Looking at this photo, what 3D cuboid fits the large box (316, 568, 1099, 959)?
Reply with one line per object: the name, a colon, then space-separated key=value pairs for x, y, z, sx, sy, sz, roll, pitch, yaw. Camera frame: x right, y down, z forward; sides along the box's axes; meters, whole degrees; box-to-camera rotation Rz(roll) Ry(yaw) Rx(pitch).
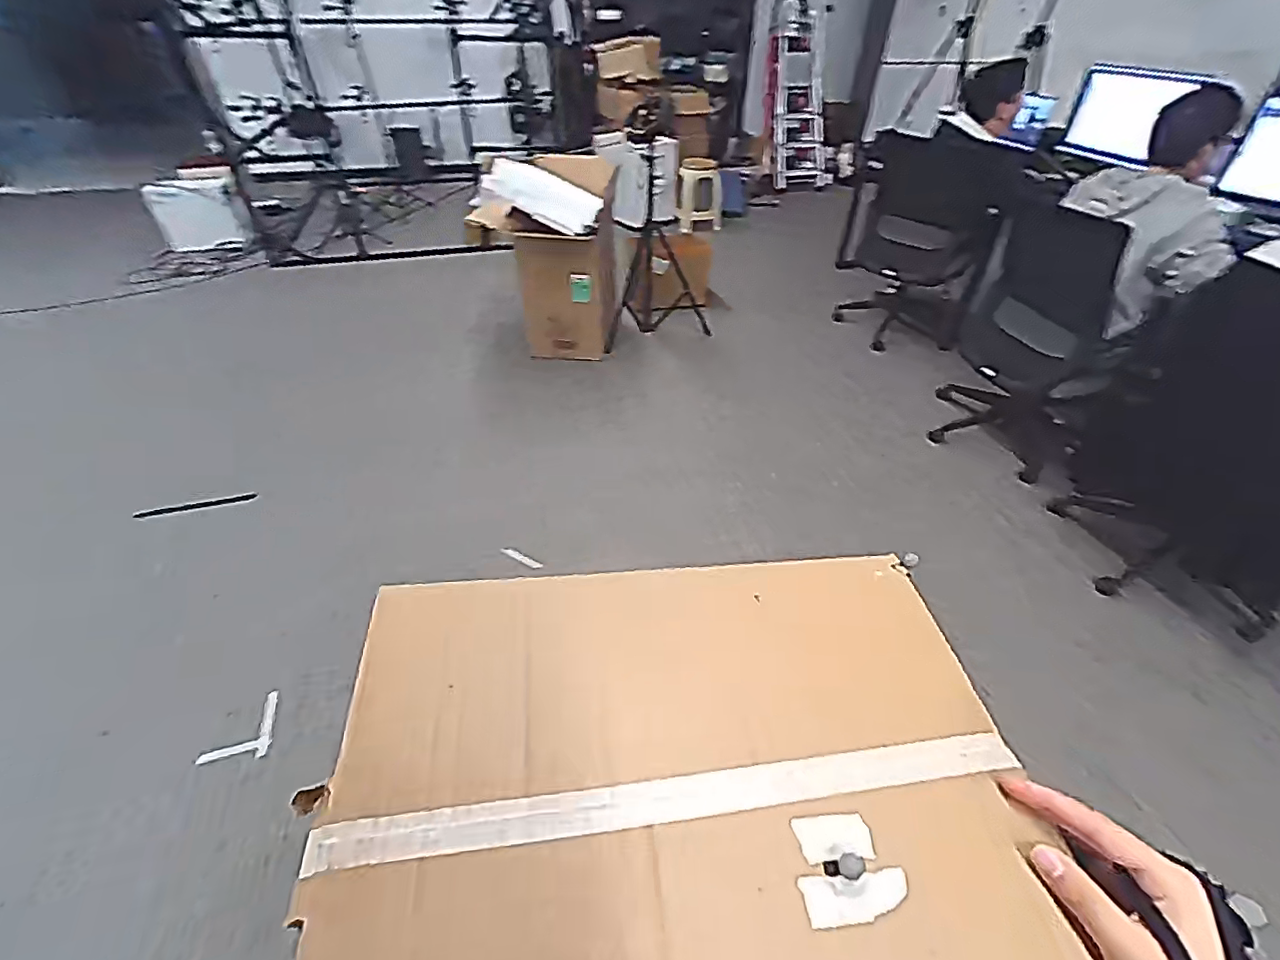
large box: x=0.015 y=0.297 z=0.423 sx=0.408 sy=0.320 sz=0.320 roll=-2 pitch=47 yaw=-11
